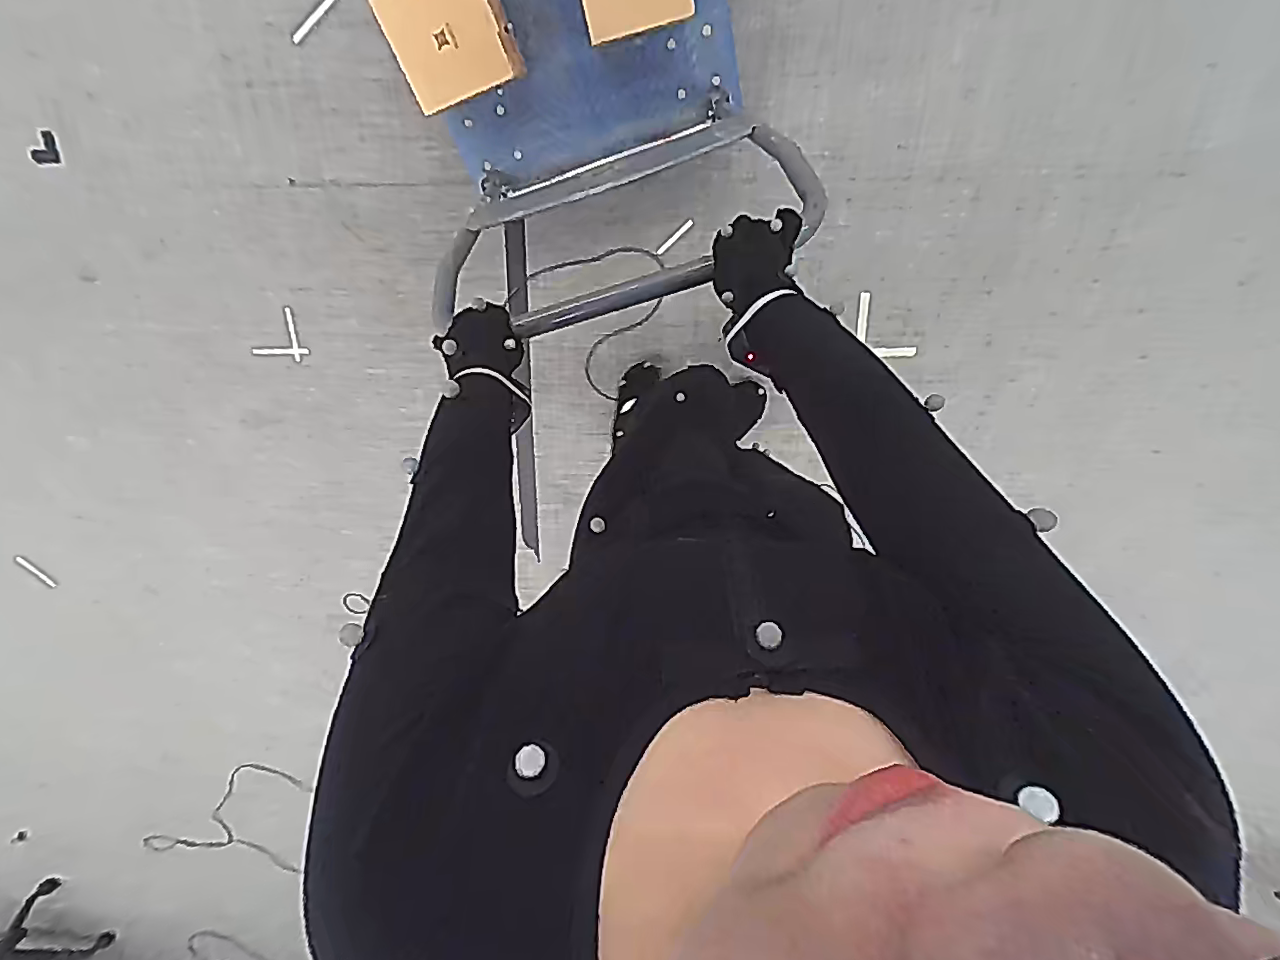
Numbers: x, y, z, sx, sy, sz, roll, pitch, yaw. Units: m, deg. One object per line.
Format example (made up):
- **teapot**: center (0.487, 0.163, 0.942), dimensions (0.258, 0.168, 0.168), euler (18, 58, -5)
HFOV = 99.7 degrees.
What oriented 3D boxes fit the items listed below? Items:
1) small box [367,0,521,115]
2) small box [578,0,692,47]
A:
- **small box**: center (-0.324, -0.758, 0.935), dimensions (0.179, 0.176, 0.168), euler (-19, 126, 9)
- **small box**: center (-0.020, -0.838, 0.890), dimensions (0.179, 0.176, 0.168), euler (-12, 127, 6)
